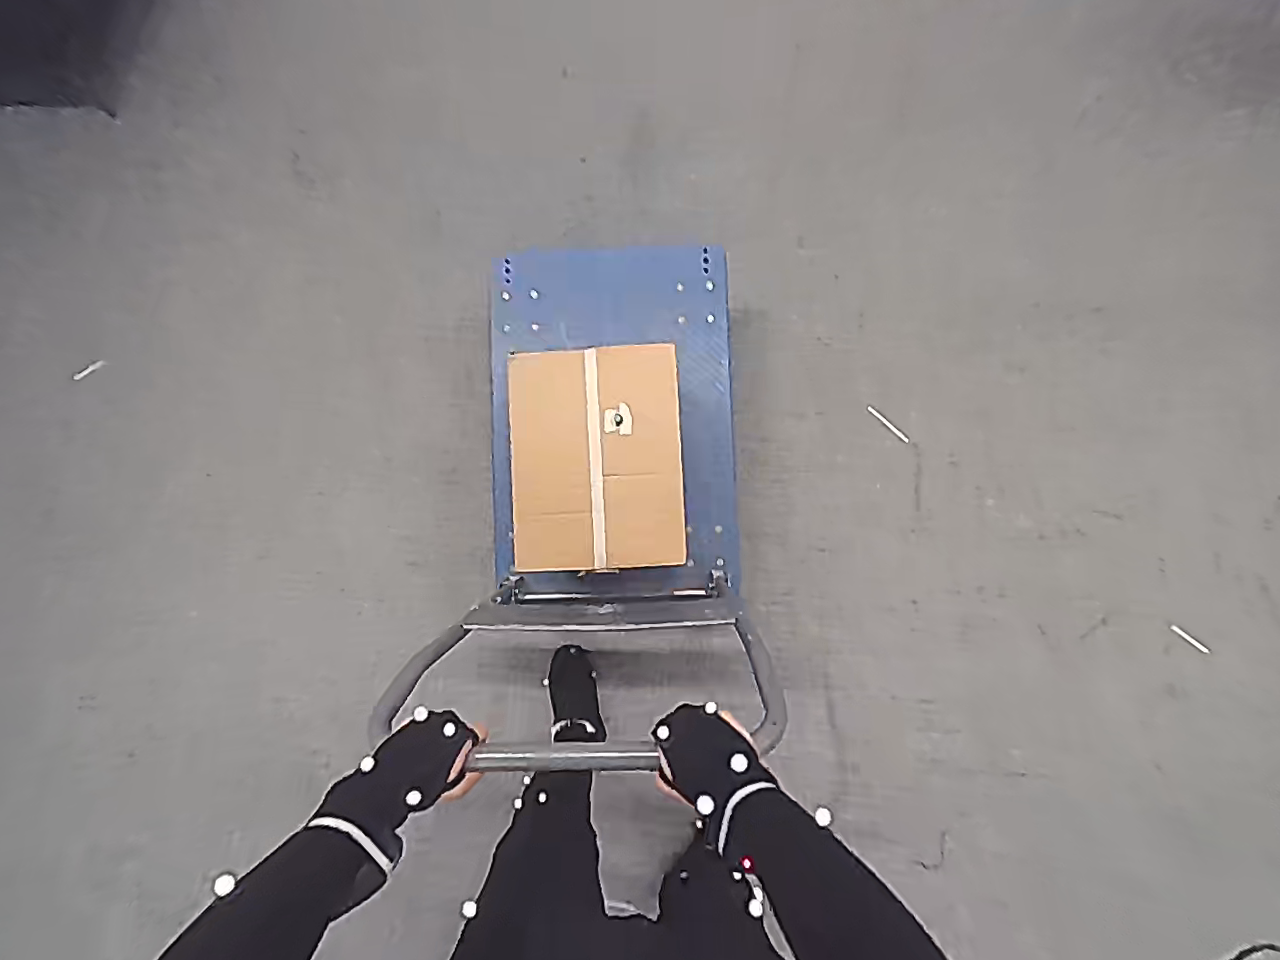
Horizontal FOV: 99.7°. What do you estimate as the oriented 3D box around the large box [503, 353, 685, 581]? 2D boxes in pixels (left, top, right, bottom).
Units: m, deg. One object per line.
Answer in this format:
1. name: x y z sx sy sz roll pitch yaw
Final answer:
1. large box: -0.078 -0.019 1.135 0.320 0.320 0.408 -4 88 2
